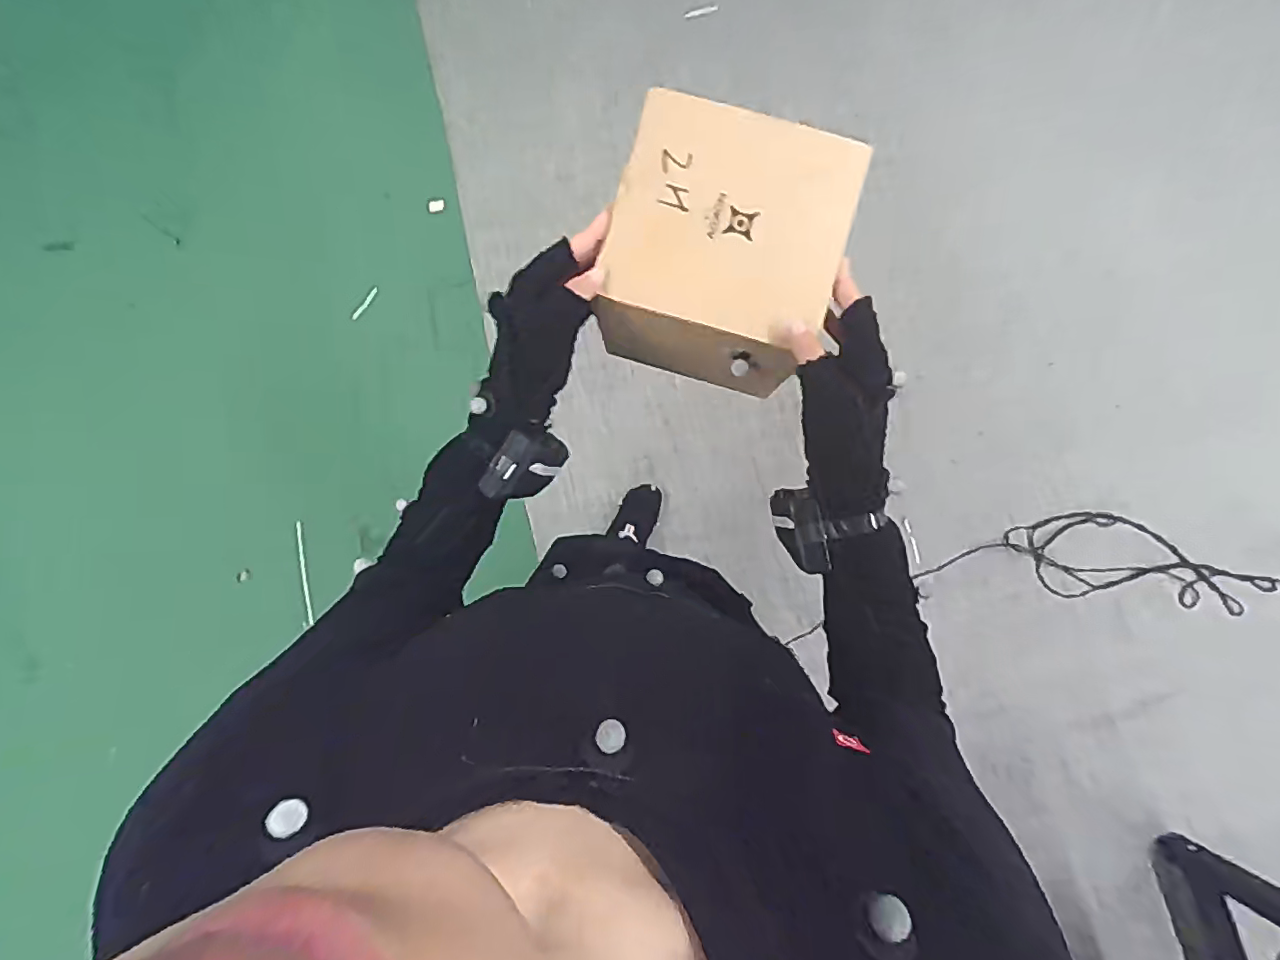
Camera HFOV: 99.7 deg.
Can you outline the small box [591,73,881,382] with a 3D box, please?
[{"bbox_3d":[0.073,-0.195,0.474,0.179,0.176,0.168,17,89,3],"label":"small box"}]
